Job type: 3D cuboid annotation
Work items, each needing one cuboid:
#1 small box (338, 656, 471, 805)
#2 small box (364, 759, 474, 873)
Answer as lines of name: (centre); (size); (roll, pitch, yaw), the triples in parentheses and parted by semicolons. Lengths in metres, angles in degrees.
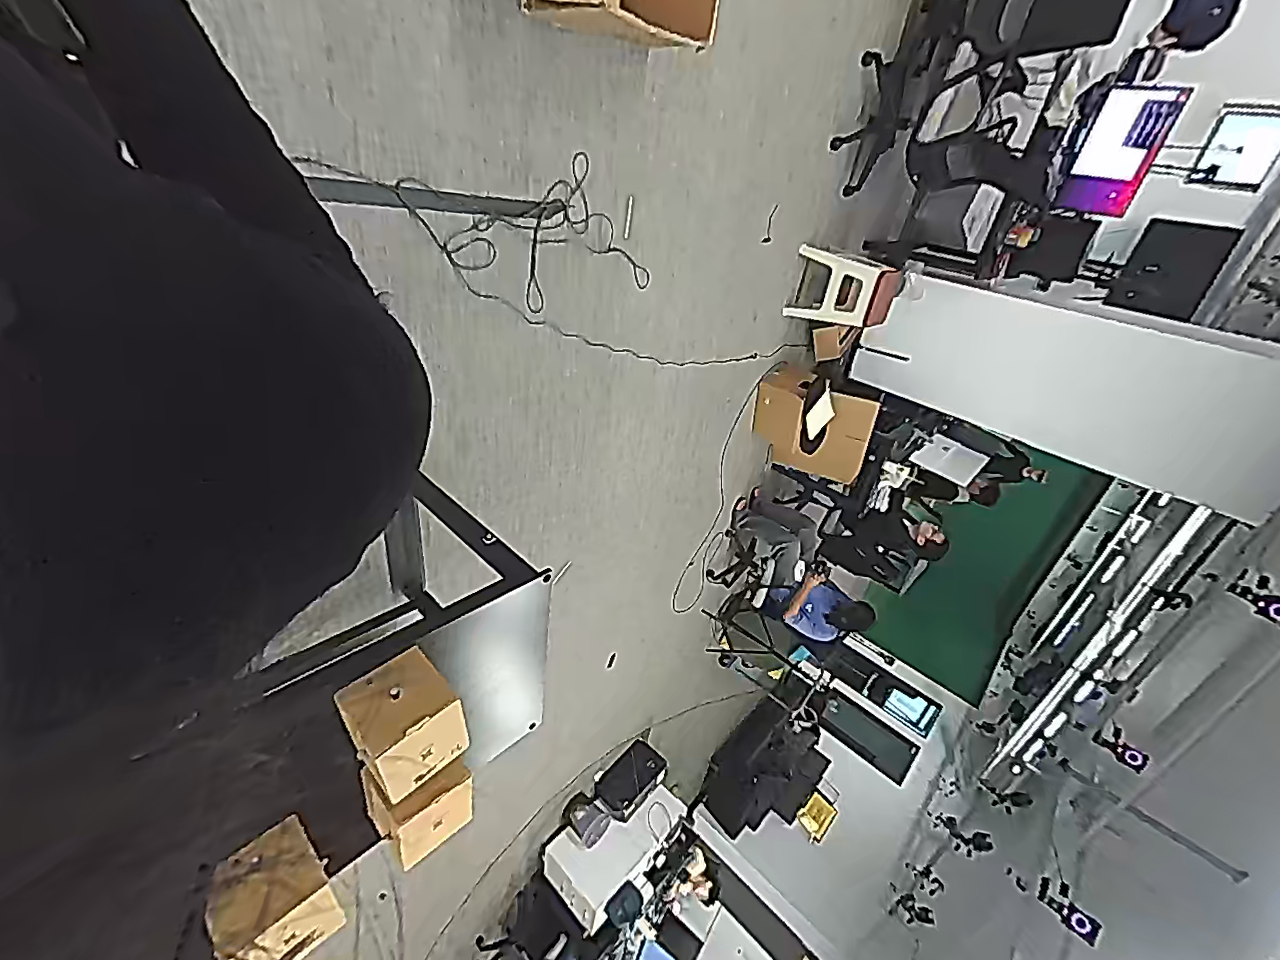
small box: (-0.455, 0.472, 1.049); (0.168, 0.176, 0.179); (-29, 137, -38)
small box: (-0.486, 0.699, 1.193); (0.168, 0.176, 0.179); (-23, 132, -43)
